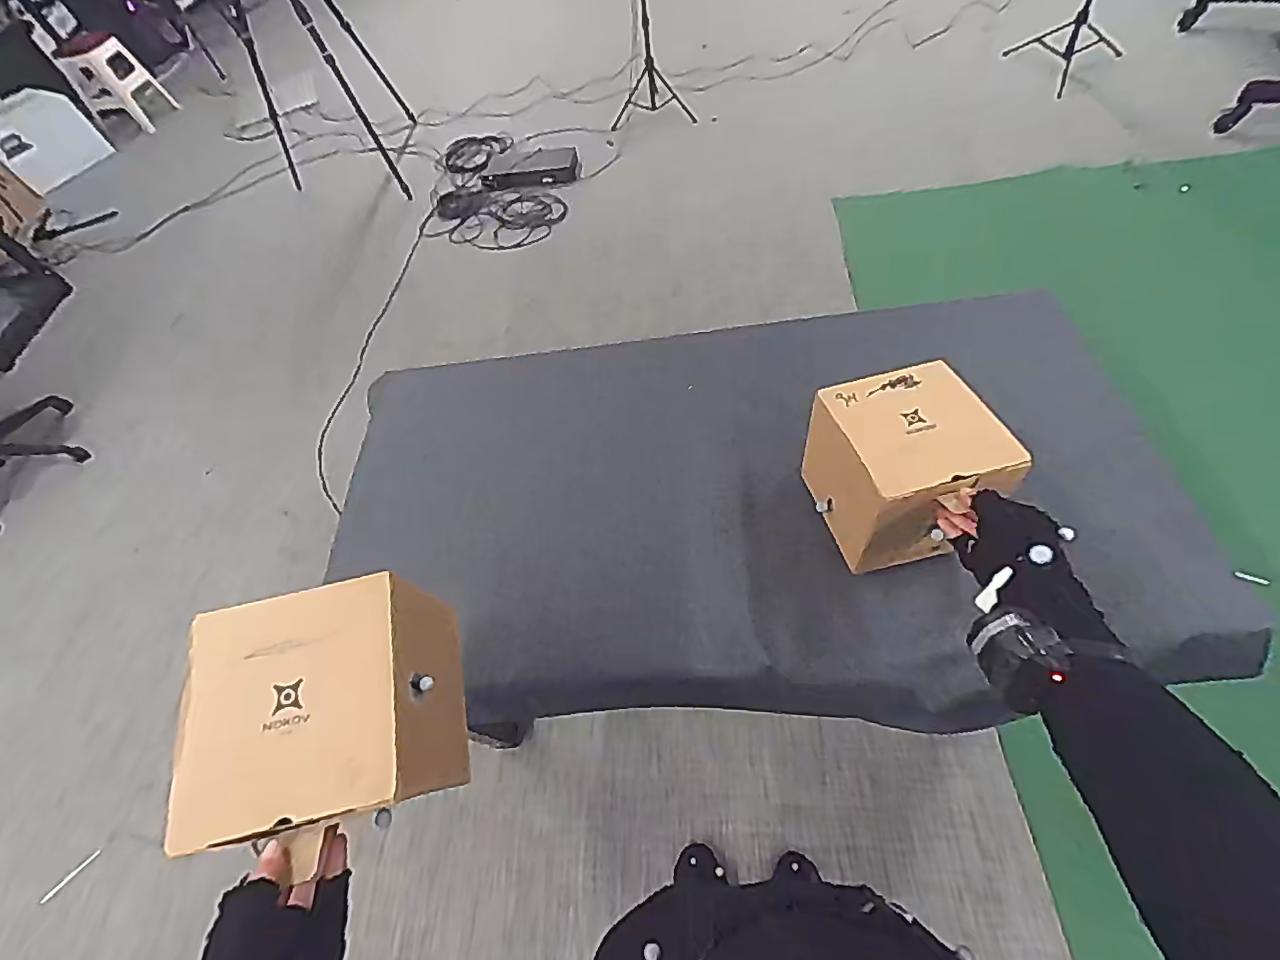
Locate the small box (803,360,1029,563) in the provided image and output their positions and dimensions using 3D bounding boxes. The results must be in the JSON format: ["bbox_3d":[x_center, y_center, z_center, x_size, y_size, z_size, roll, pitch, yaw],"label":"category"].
[{"bbox_3d":[0.319,-0.014,0.671,0.168,0.176,0.179,-14,53,-3],"label":"small box"}]

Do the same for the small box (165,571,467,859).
[{"bbox_3d":[-0.266,0.202,0.485,0.168,0.176,0.179,-13,65,-4],"label":"small box"}]
